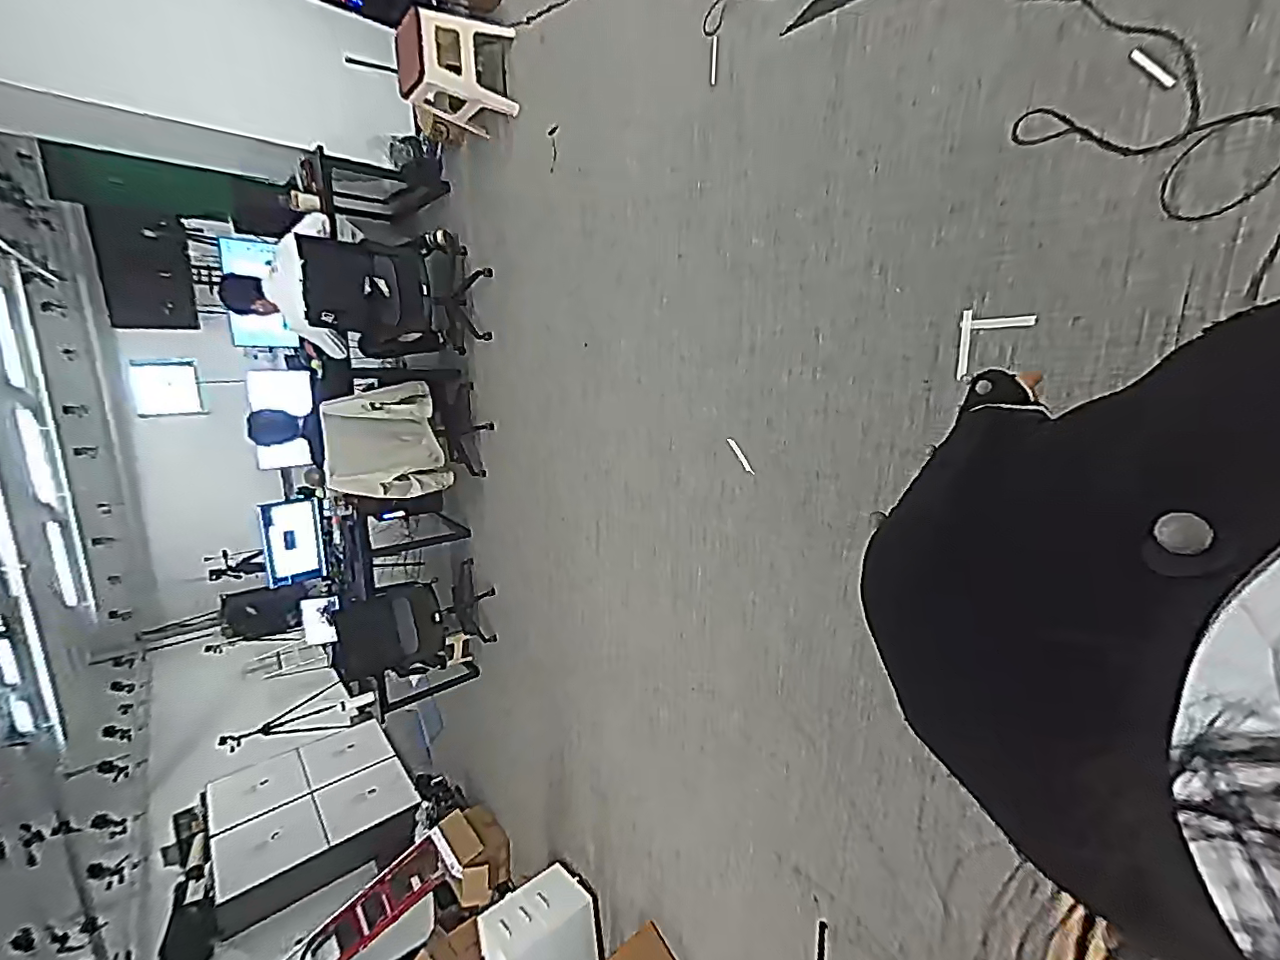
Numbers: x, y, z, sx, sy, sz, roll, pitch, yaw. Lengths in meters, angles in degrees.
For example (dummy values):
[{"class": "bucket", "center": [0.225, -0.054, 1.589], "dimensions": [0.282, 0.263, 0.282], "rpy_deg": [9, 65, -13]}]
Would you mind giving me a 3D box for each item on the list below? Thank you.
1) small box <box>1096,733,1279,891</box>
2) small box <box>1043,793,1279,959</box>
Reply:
[{"class": "small box", "center": [0.736, 0.489, 0.740], "dimensions": [0.168, 0.176, 0.179], "rpy_deg": [13, 104, 47]}, {"class": "small box", "center": [0.610, 0.518, 0.638], "dimensions": [0.168, 0.176, 0.179], "rpy_deg": [16, 107, 47]}]
